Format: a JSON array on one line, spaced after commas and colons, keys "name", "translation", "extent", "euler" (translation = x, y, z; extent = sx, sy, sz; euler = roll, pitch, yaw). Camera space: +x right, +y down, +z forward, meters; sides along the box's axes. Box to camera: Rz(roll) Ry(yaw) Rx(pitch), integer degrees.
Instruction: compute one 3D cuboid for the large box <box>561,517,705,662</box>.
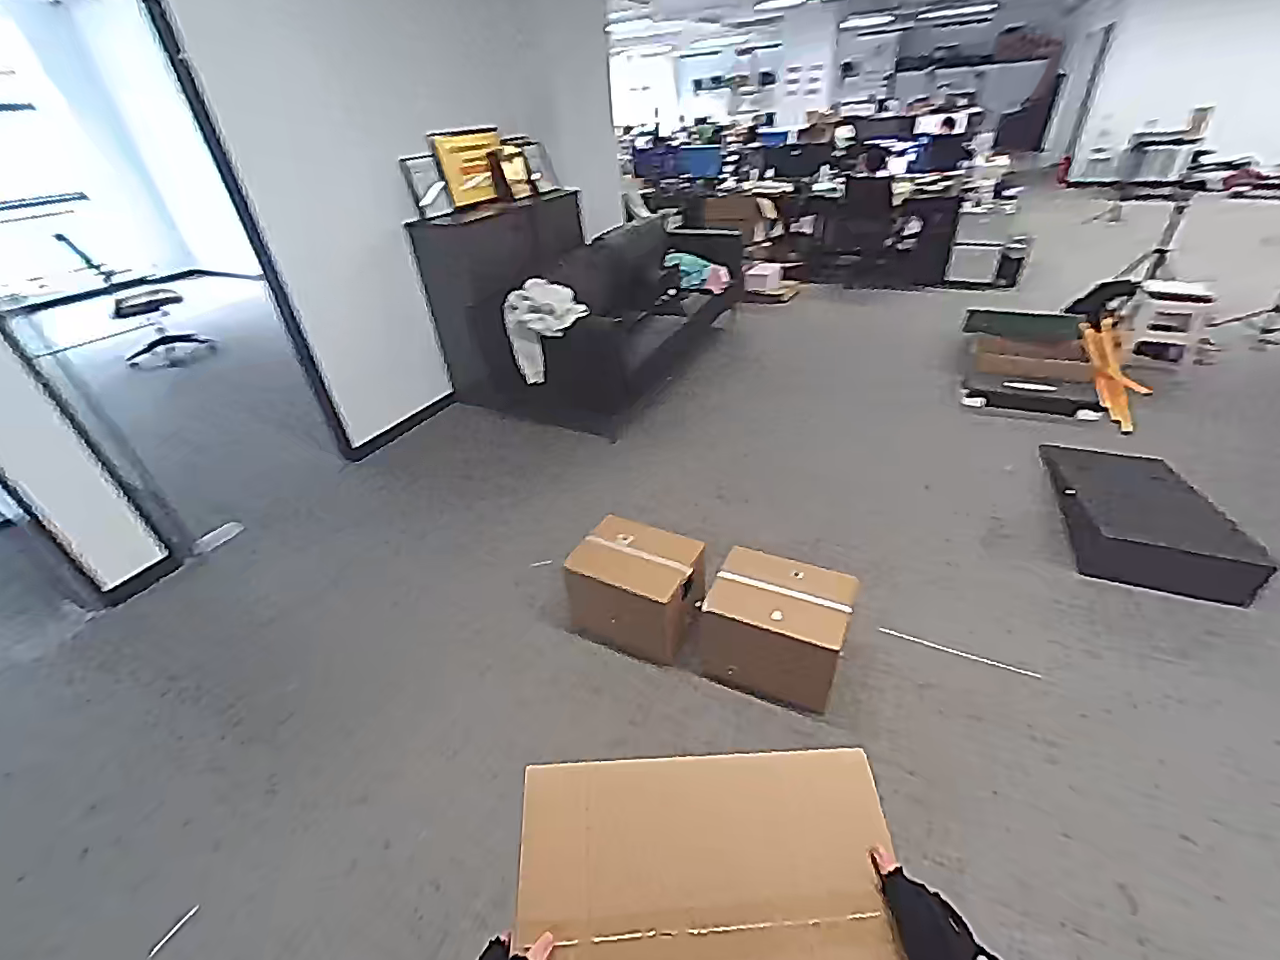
[{"name": "large box", "translation": [-0.010, 0.379, 1.920], "extent": [0.408, 0.320, 0.320], "euler": [13, 38, 26]}]
